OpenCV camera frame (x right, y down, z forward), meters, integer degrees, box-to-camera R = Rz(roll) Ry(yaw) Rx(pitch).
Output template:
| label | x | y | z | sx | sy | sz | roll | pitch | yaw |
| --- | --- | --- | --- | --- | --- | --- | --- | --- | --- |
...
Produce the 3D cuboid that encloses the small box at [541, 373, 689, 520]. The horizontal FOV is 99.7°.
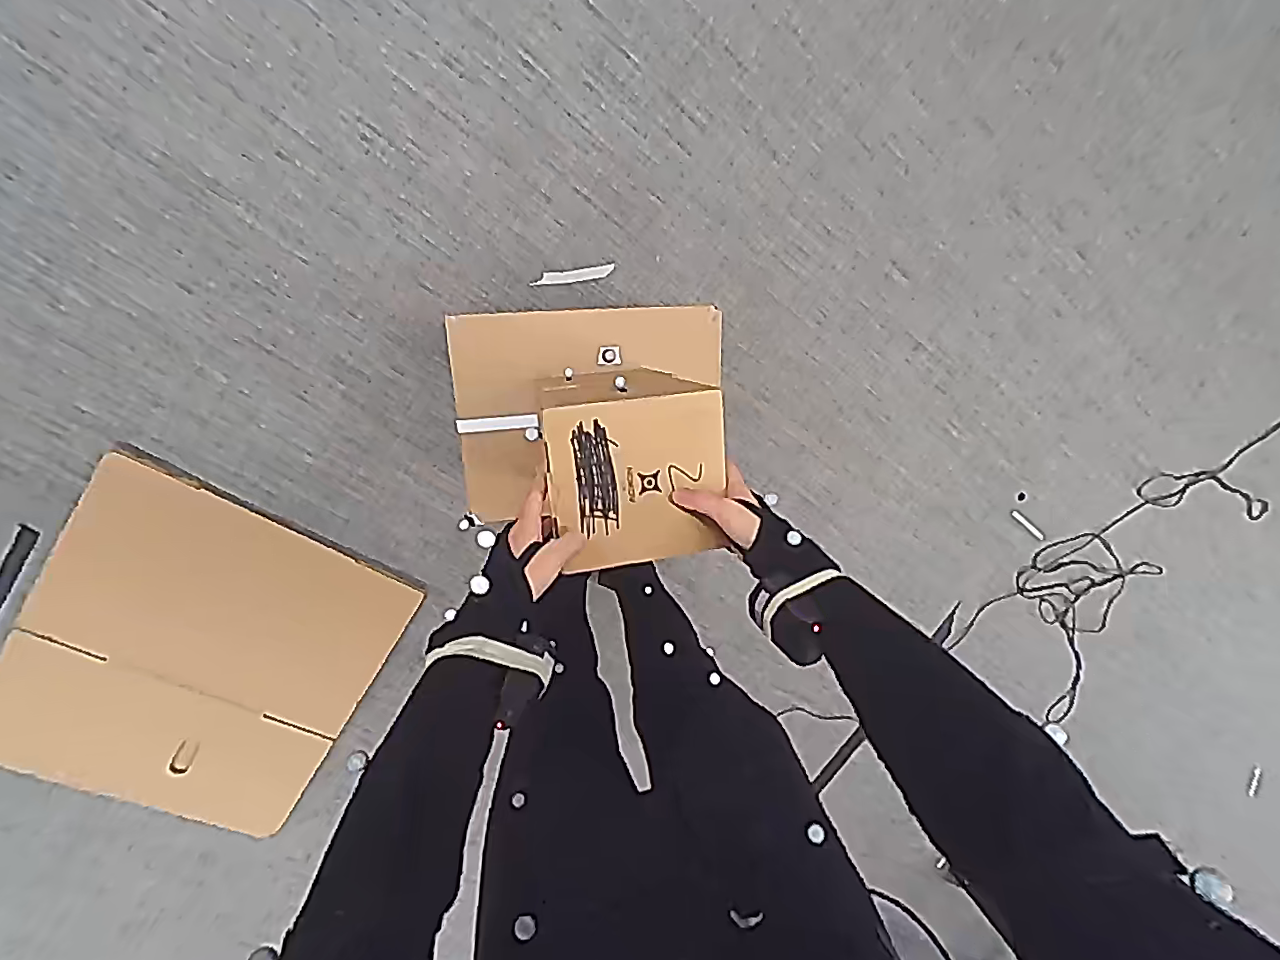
| label | x | y | z | sx | sy | sz | roll | pitch | yaw |
| --- | --- | --- | --- | --- | --- | --- | --- | --- | --- |
| small box | -0.042 | -0.056 | 0.755 | 0.179 | 0.176 | 0.168 | -9 | 106 | -11 |
